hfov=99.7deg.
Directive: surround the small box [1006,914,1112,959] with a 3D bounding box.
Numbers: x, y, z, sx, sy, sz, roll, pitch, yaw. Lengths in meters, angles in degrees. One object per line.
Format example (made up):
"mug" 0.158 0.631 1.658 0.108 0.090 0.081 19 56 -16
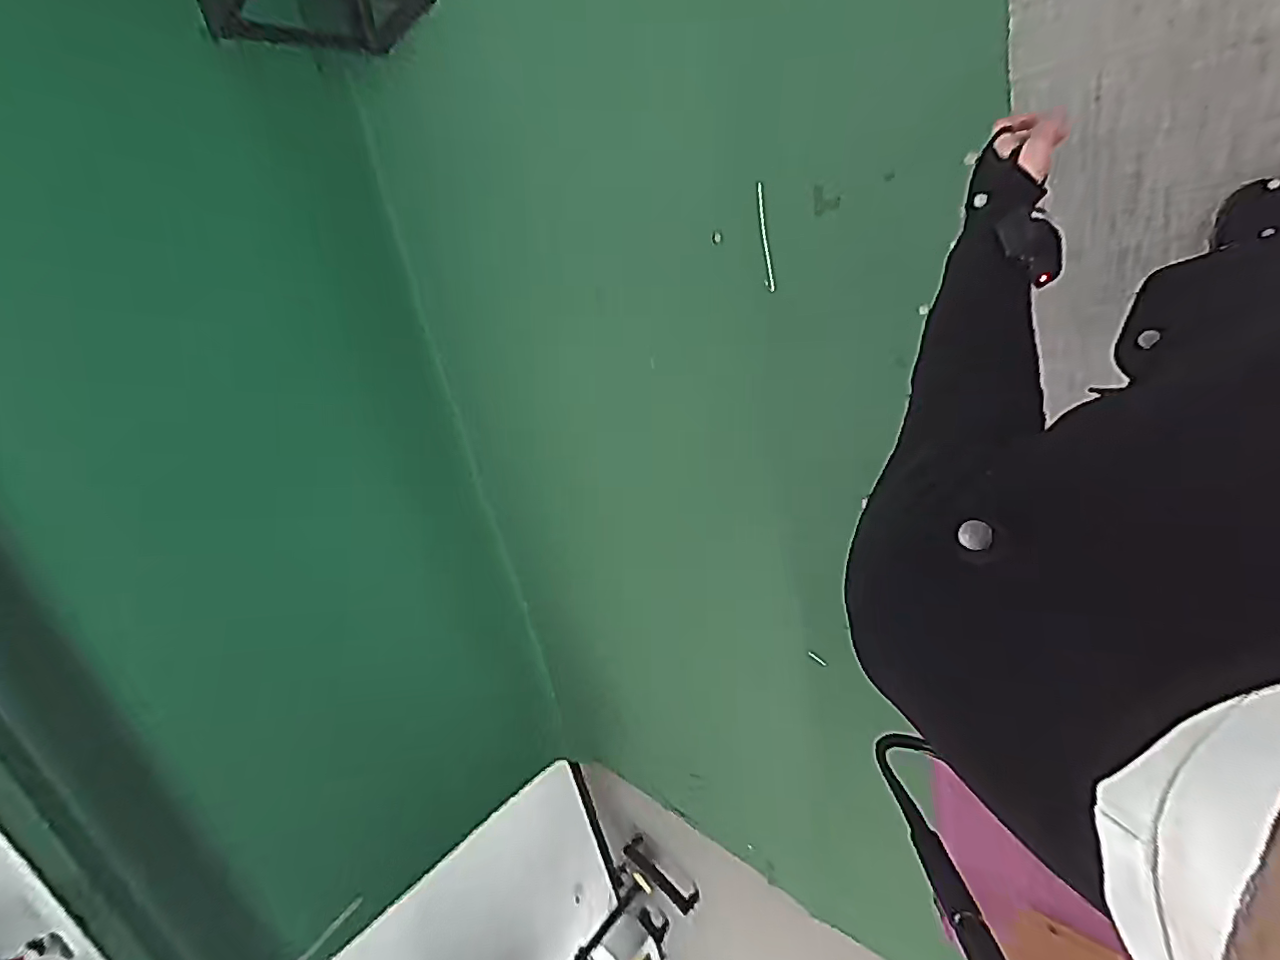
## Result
"small box" 0.782 0.976 1.000 0.168 0.176 0.179 5 115 45
